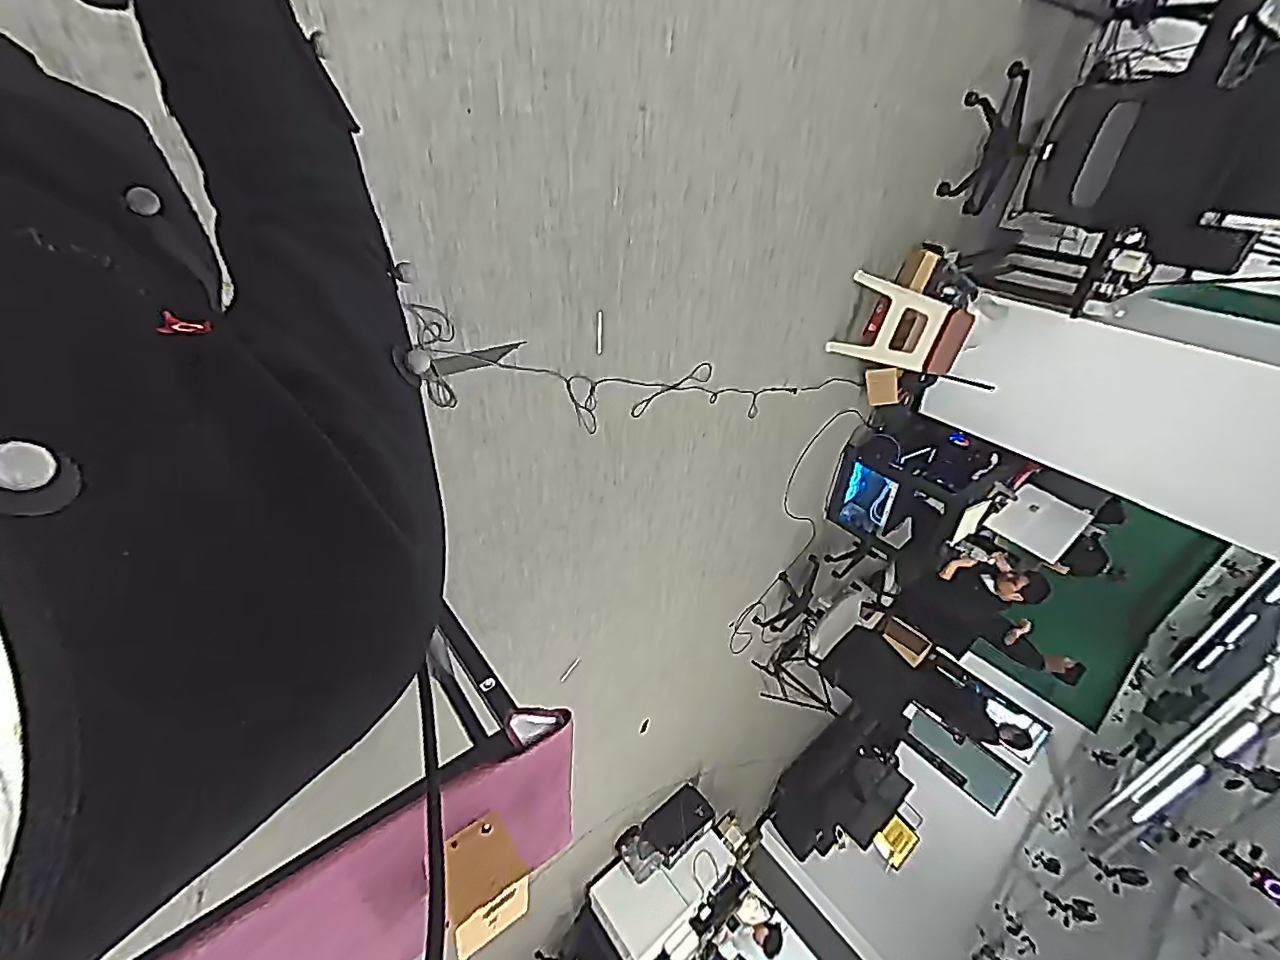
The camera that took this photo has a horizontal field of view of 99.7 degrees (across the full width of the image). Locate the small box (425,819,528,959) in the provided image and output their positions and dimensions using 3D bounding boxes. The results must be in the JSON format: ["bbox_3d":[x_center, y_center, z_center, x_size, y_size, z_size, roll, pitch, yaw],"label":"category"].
[{"bbox_3d":[-0.365,0.902,1.202,0.168,0.176,0.179,-17,128,-37],"label":"small box"}]
